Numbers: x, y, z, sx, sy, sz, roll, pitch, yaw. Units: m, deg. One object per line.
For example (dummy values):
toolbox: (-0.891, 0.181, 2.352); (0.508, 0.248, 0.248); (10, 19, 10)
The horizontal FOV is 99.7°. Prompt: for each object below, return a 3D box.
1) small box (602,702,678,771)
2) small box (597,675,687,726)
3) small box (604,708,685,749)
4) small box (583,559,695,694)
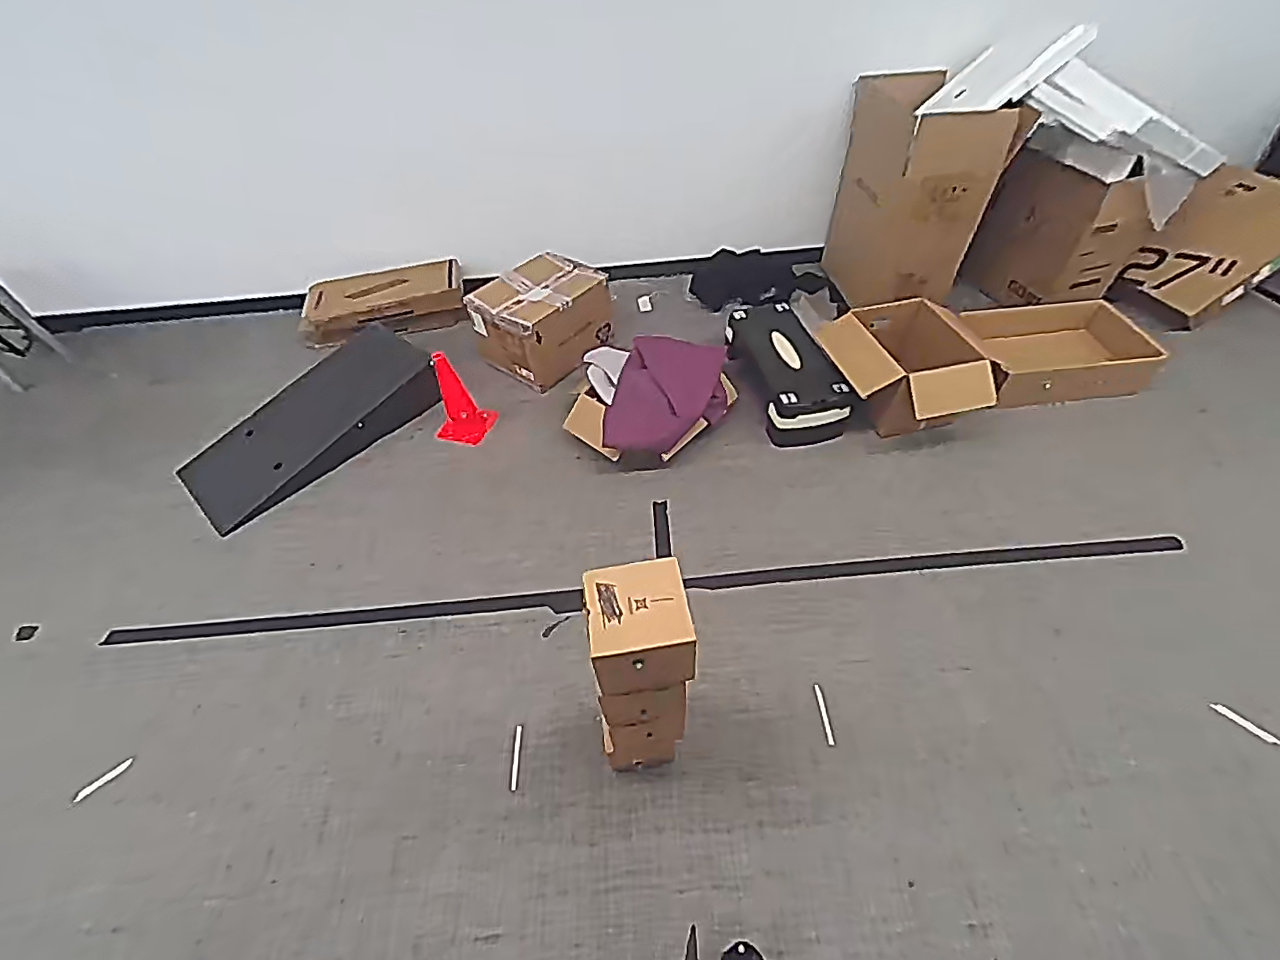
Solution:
small box: (-0.002, 0.599, 1.346); (0.168, 0.176, 0.179); (-10, 50, -3)
small box: (0.002, 0.378, 1.100); (0.168, 0.176, 0.179); (-7, 49, 0)
small box: (0.005, 0.491, 1.222); (0.168, 0.176, 0.179); (-11, 49, -4)
small box: (0.000, 0.268, 0.977); (0.179, 0.176, 0.168); (-9, 48, -3)
